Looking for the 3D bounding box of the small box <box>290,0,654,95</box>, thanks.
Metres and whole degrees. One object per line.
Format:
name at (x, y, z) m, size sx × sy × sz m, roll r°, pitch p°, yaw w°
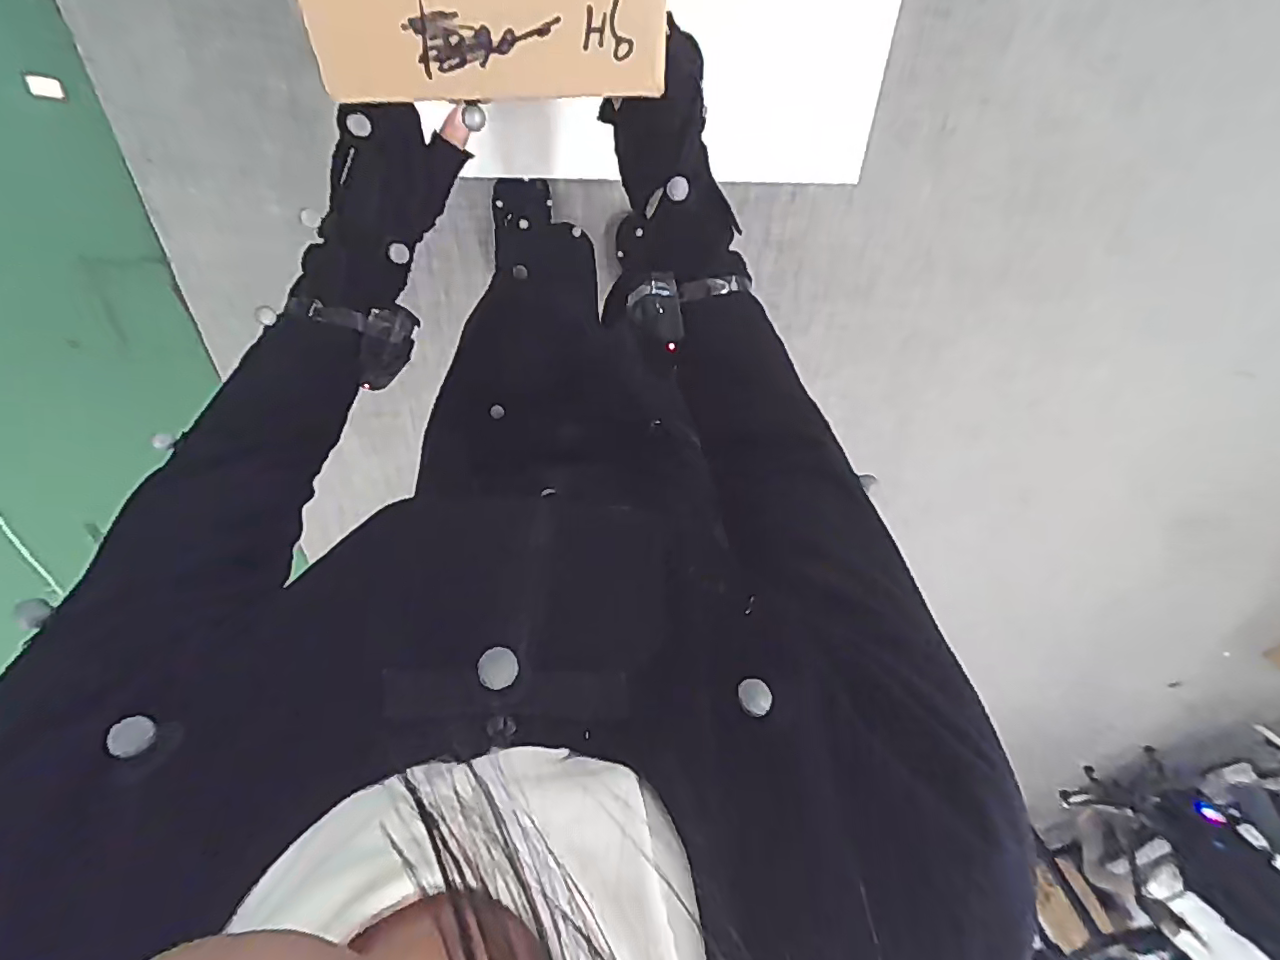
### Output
small box at (-0.087, -0.310, 0.281) m, size 0.168 × 0.176 × 0.179 m, roll -6°, pitch 126°, yaw -6°
